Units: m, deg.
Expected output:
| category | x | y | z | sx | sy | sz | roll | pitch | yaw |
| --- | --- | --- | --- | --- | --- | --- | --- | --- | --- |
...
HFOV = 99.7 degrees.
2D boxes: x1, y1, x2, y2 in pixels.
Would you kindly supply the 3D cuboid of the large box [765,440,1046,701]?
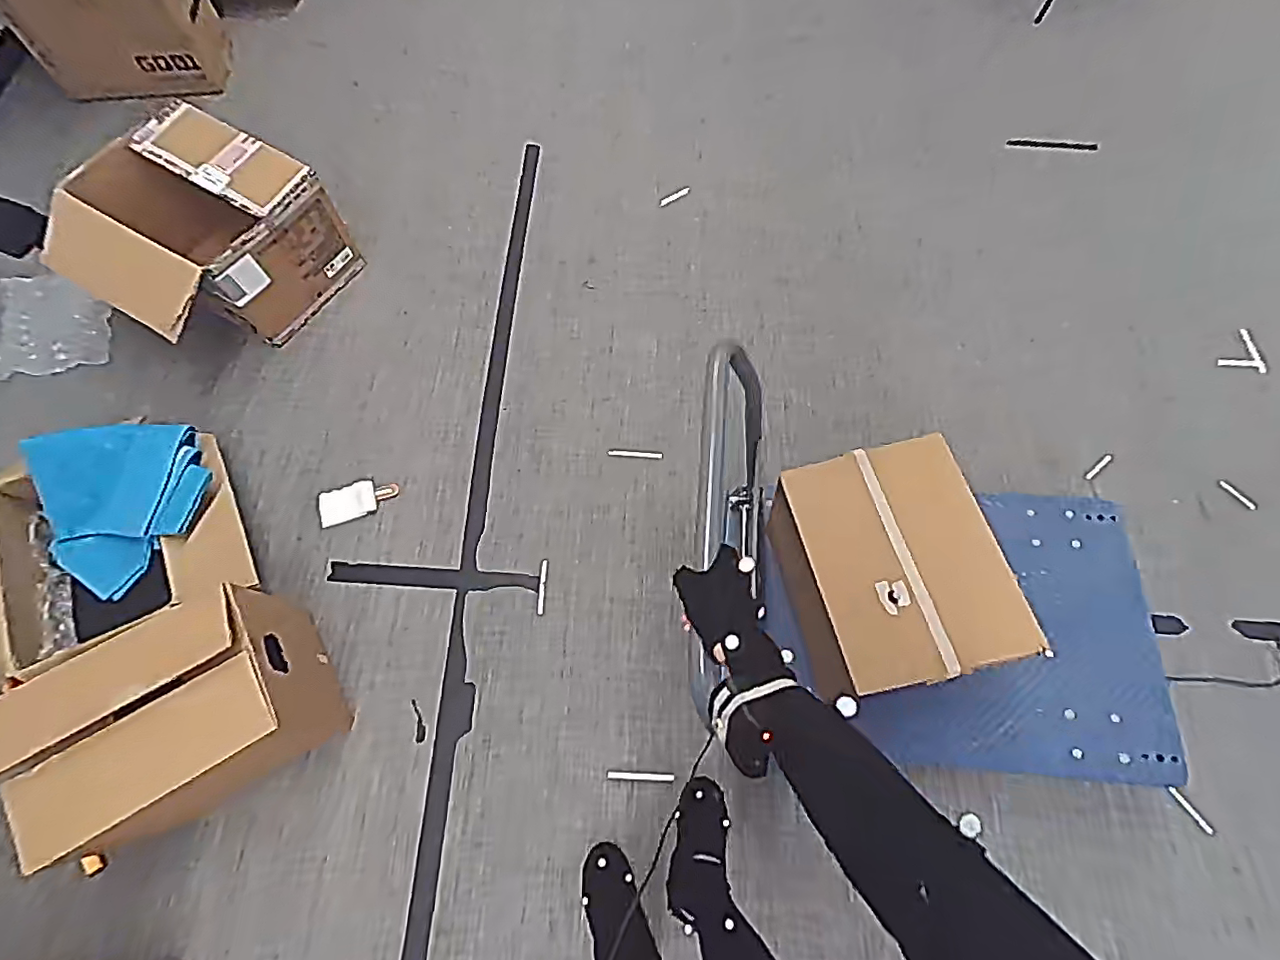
| category | x | y | z | sx | sy | sz | roll | pitch | yaw |
| --- | --- | --- | --- | --- | --- | --- | --- | --- | --- |
| large box | 0.469 | 0.192 | 1.073 | 0.320 | 0.320 | 0.408 | -15 | 66 | 2 |
